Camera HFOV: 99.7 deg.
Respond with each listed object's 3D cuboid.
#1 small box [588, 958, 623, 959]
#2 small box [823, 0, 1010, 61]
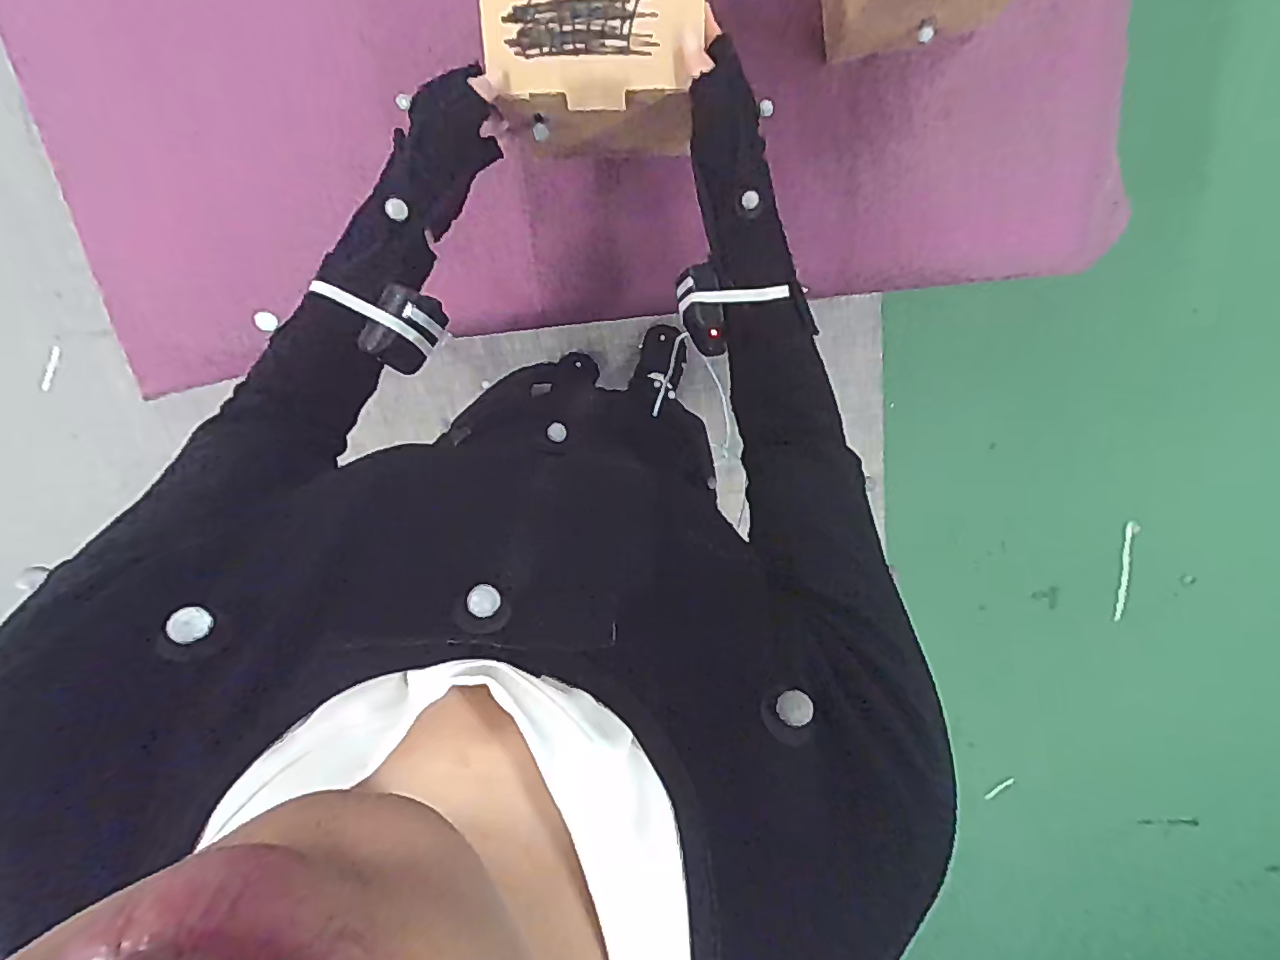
[{"bbox_3d":[-0.112,1.675,1.728,0.168,0.176,0.179,-10,107,4],"label":"small box"},{"bbox_3d":[0.263,-0.520,0.477,0.168,0.176,0.179,-9,108,6],"label":"small box"}]
